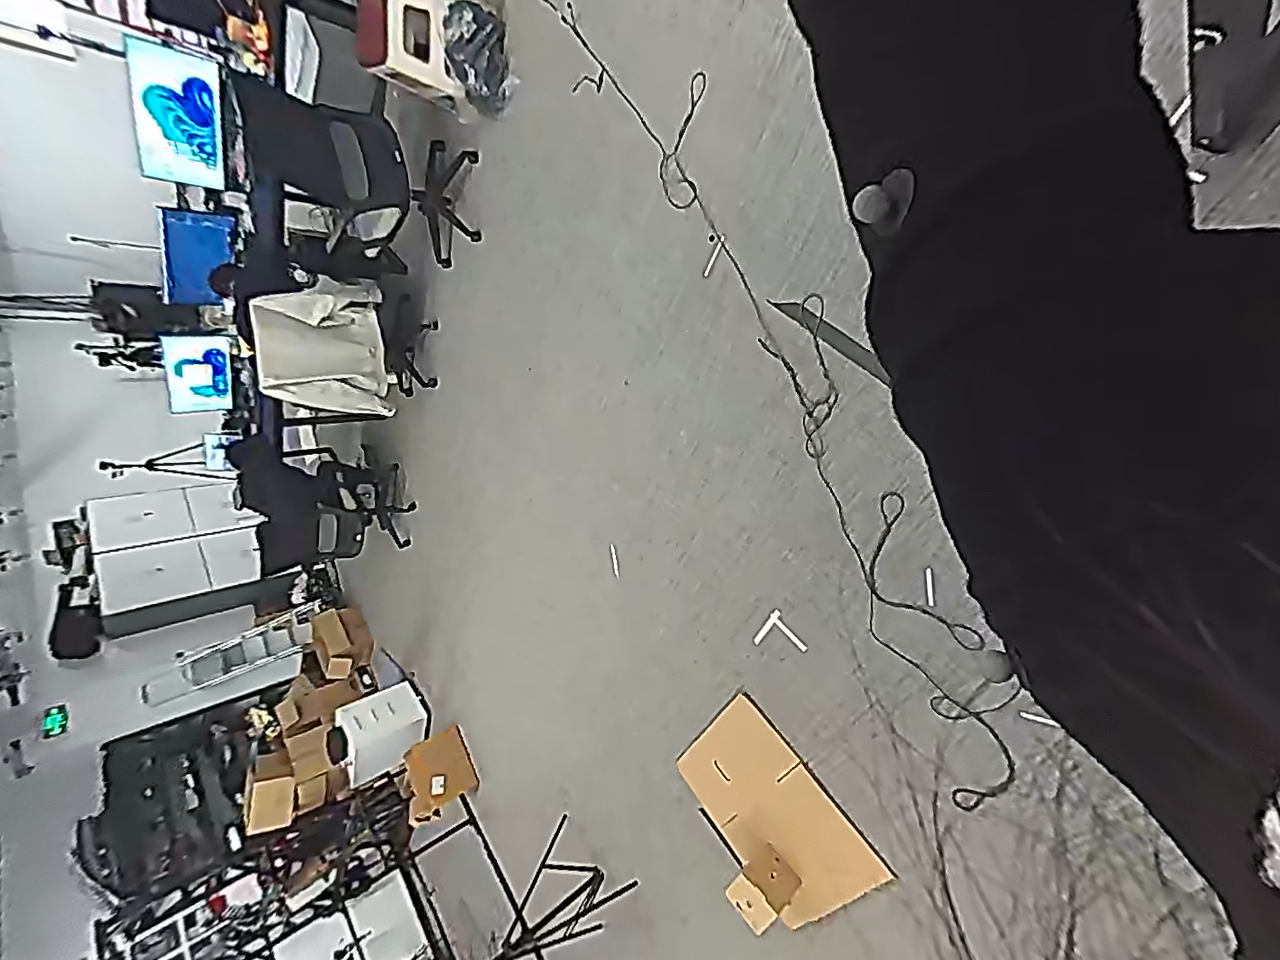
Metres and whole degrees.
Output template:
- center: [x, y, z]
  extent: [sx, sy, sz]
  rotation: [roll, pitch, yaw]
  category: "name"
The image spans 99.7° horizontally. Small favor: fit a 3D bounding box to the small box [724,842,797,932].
- center: [0.443, 1.466, 1.959]
  extent: [0.168, 0.176, 0.179]
  rotation: [41, 125, 32]
  category: "small box"
